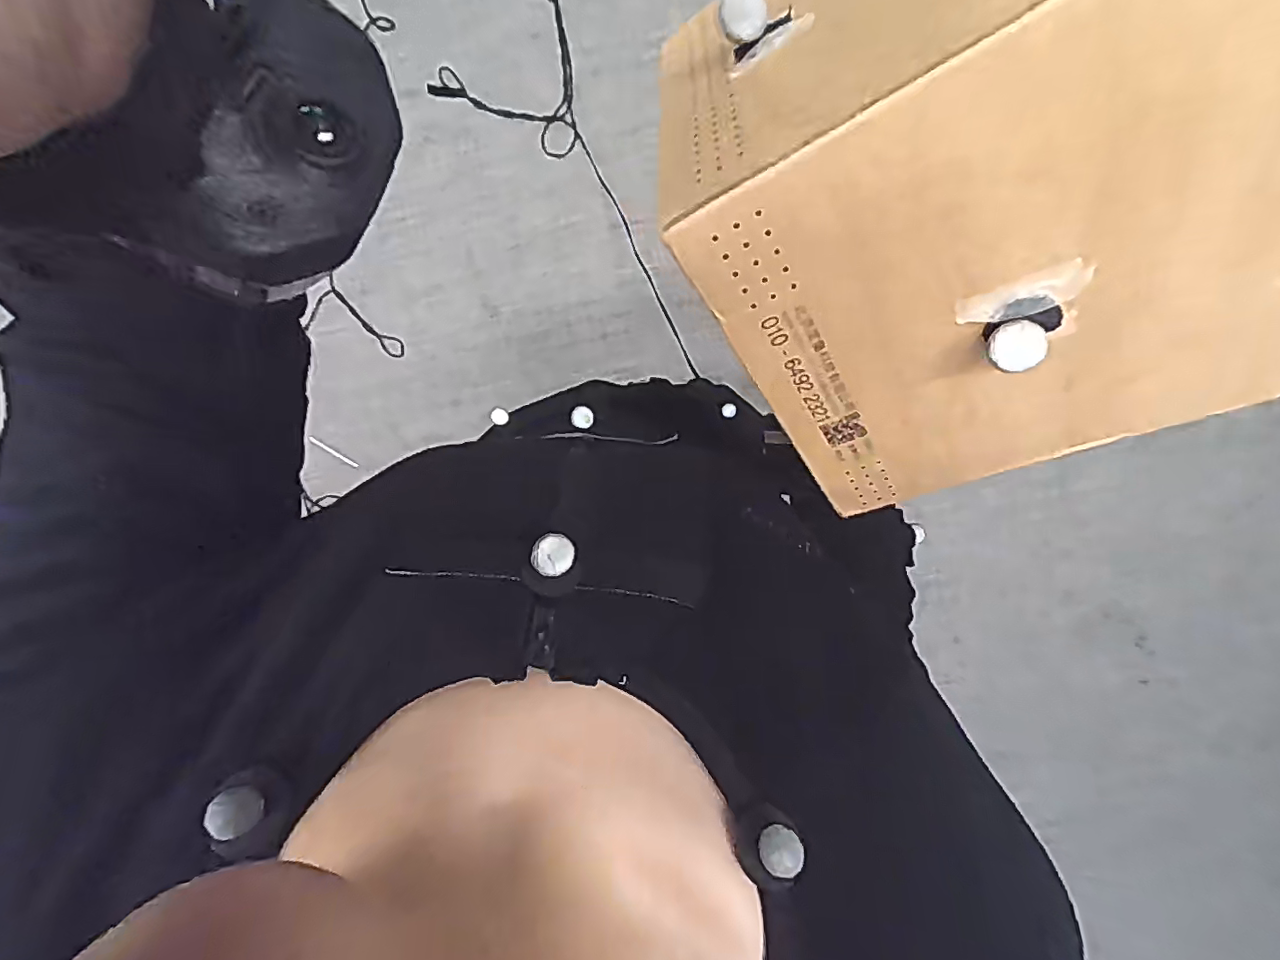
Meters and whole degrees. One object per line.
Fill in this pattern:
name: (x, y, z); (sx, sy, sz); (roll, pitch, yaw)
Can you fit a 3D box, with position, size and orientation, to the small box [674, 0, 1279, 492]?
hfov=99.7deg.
small box: (0.123, -0.119, 0.232); (0.176, 0.179, 0.168); (-20, 137, 27)
